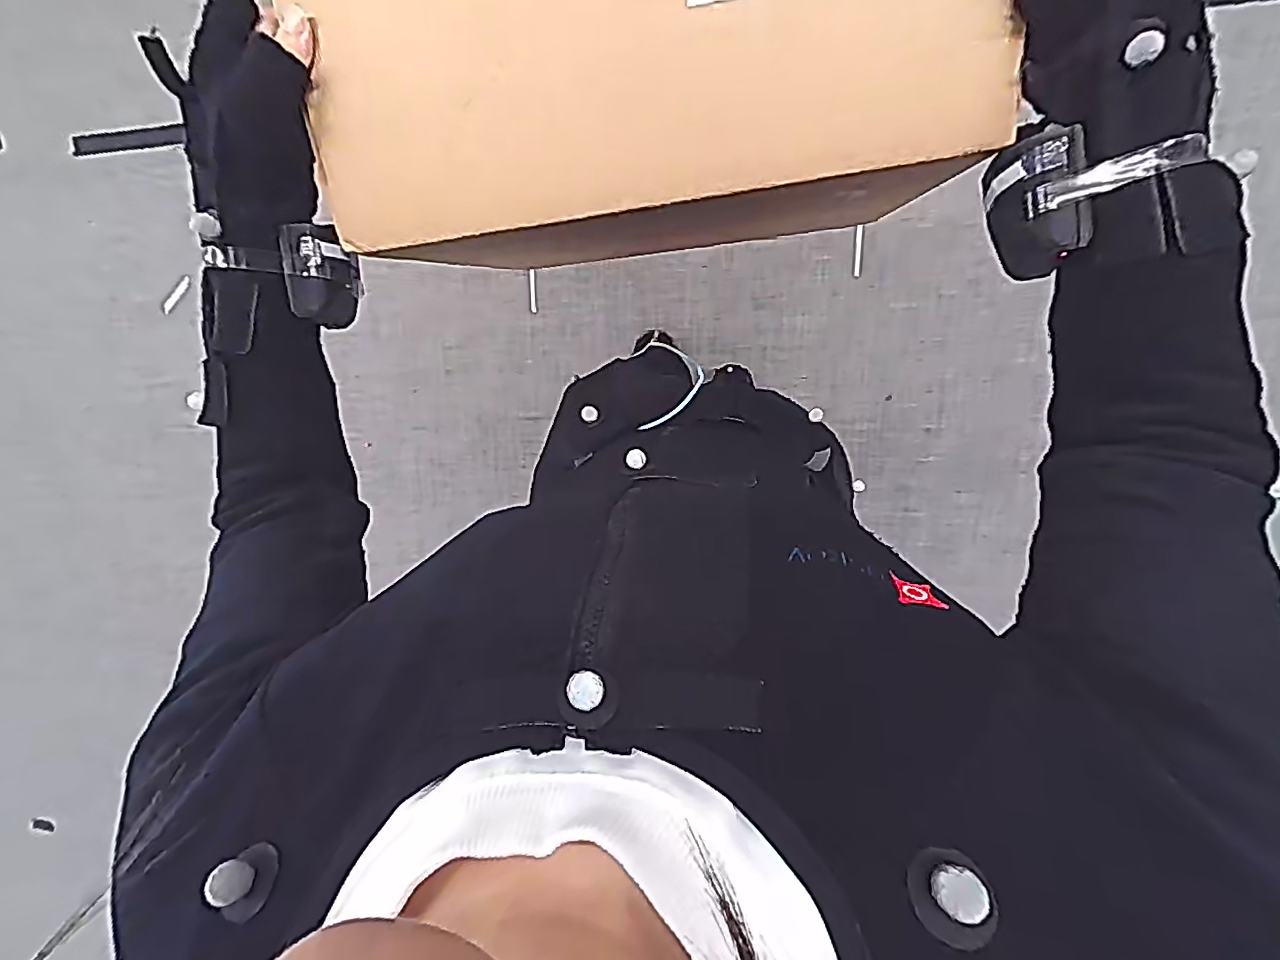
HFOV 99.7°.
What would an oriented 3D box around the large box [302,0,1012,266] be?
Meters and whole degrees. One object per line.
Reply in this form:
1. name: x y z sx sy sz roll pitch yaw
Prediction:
1. large box: 0.008 -0.369 0.428 0.408 0.320 0.320 -4 109 11
